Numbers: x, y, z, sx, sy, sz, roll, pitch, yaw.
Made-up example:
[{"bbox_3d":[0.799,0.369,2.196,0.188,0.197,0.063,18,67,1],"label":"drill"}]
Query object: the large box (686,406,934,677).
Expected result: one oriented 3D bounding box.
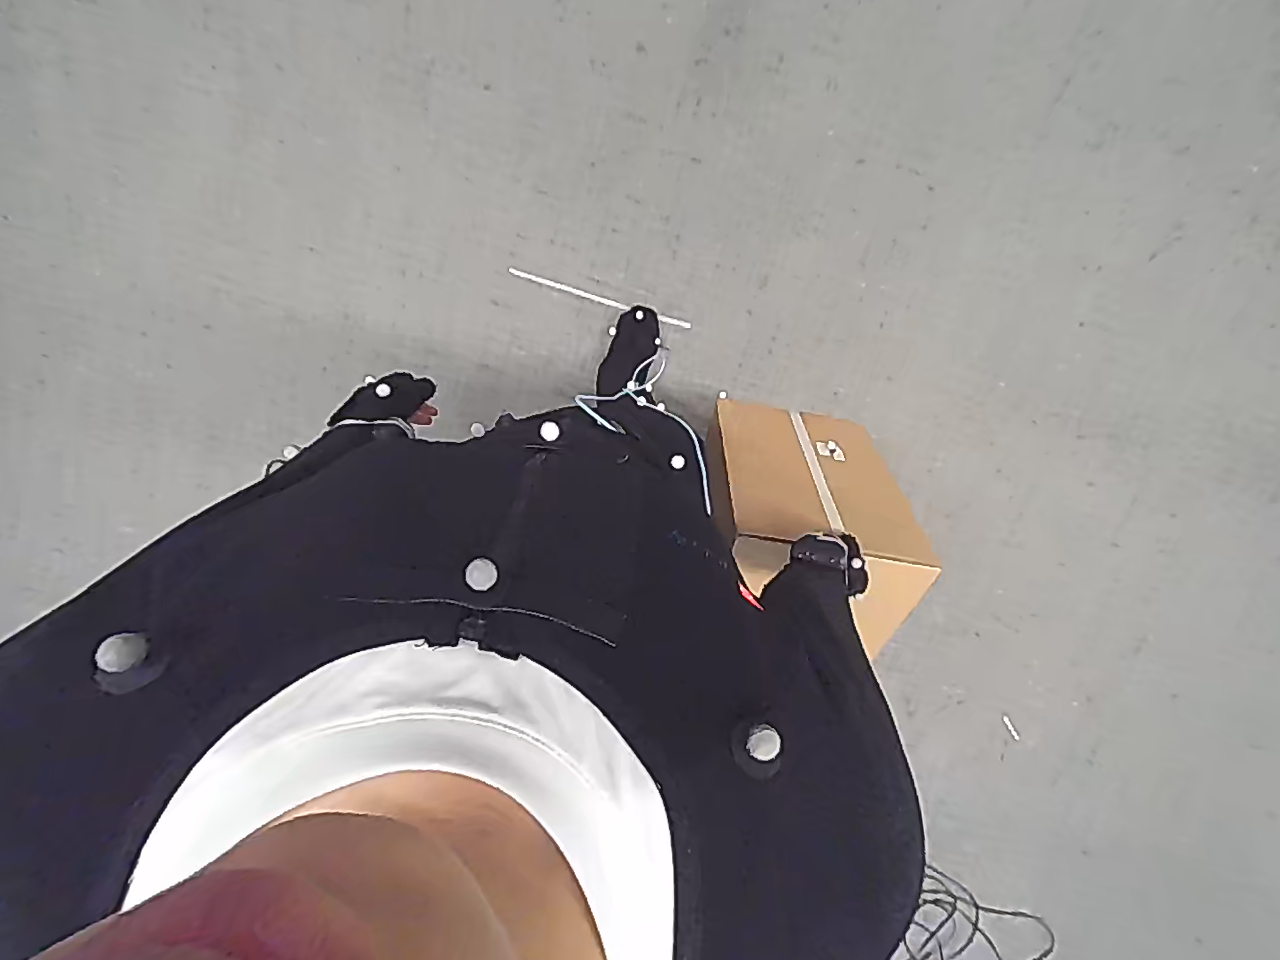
[{"bbox_3d":[0.272,0.107,1.036,0.320,0.408,0.320,10,126,-4],"label":"large box"}]
